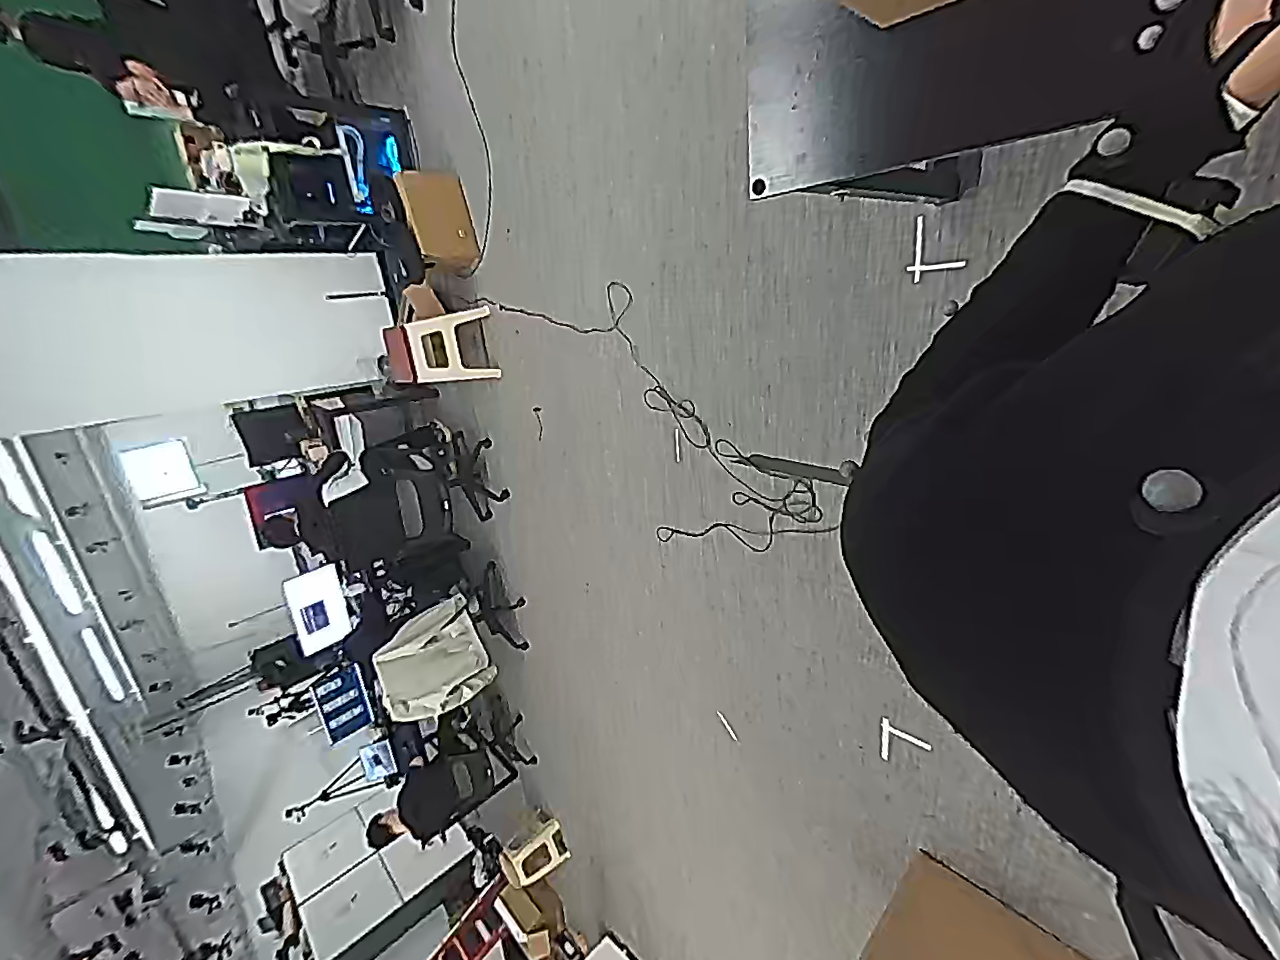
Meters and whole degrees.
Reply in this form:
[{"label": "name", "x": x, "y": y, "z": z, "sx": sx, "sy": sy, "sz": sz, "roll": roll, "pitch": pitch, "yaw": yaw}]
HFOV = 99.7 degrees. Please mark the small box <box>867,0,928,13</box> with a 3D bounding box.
[{"label": "small box", "x": 0.290, "y": -0.593, "z": 0.517, "sx": 0.179, "sy": 0.176, "sz": 0.168, "roll": 16, "pitch": 118, "yaw": 43}]
